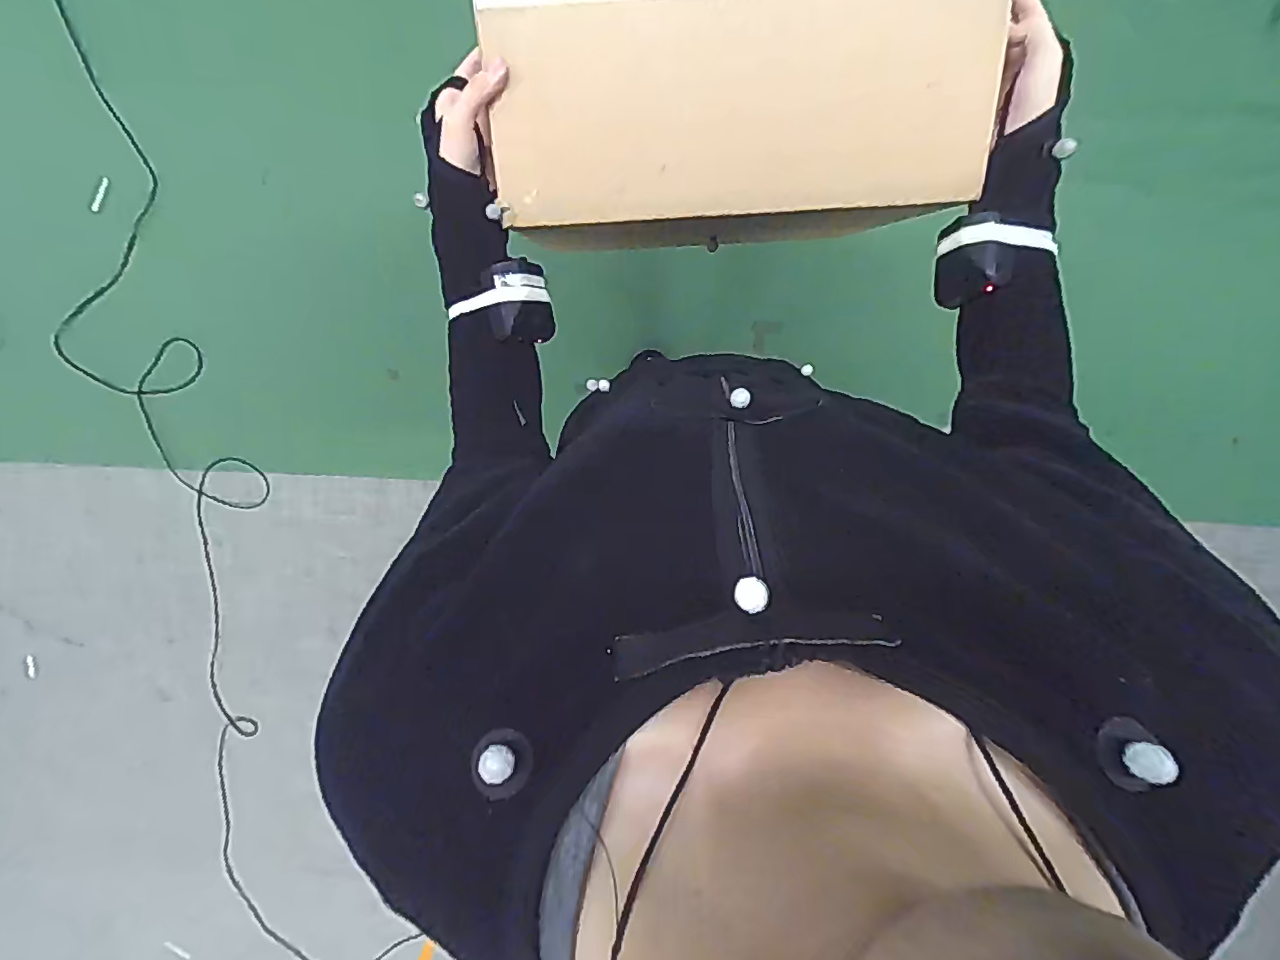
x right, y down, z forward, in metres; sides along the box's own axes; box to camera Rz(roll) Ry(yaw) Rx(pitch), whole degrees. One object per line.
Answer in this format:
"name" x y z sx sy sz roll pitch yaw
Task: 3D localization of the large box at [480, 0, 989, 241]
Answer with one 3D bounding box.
"large box" 0.073 -0.432 0.554 0.408 0.320 0.320 -3 109 1
